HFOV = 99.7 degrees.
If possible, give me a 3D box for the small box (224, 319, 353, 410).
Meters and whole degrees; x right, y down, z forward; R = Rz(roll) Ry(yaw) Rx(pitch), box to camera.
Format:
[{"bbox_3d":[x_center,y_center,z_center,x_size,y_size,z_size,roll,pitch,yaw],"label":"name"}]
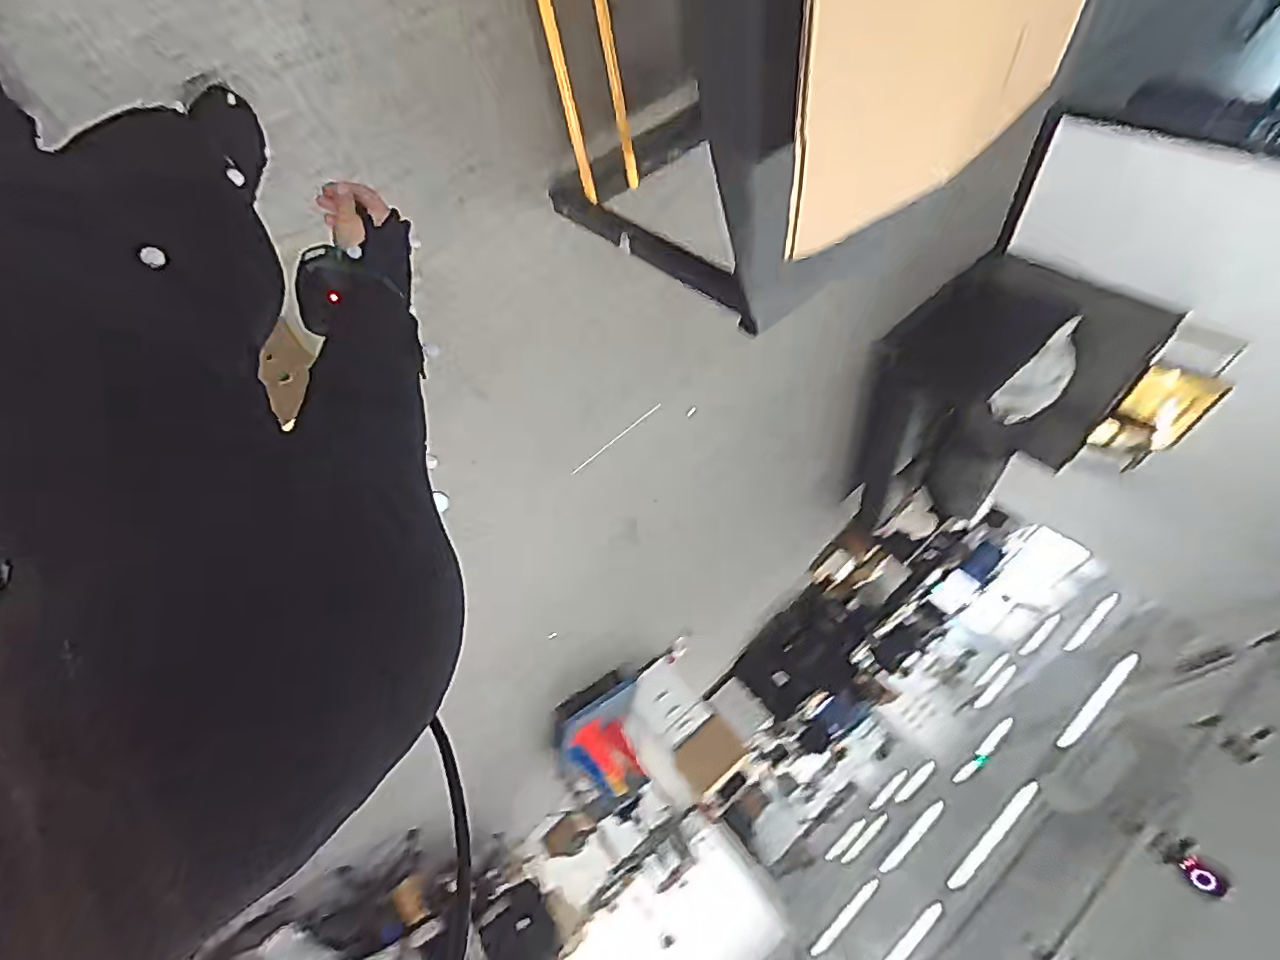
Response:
[{"bbox_3d":[-0.767,-0.221,1.192,0.179,0.176,0.168,-42,148,-10],"label":"small box"}]
